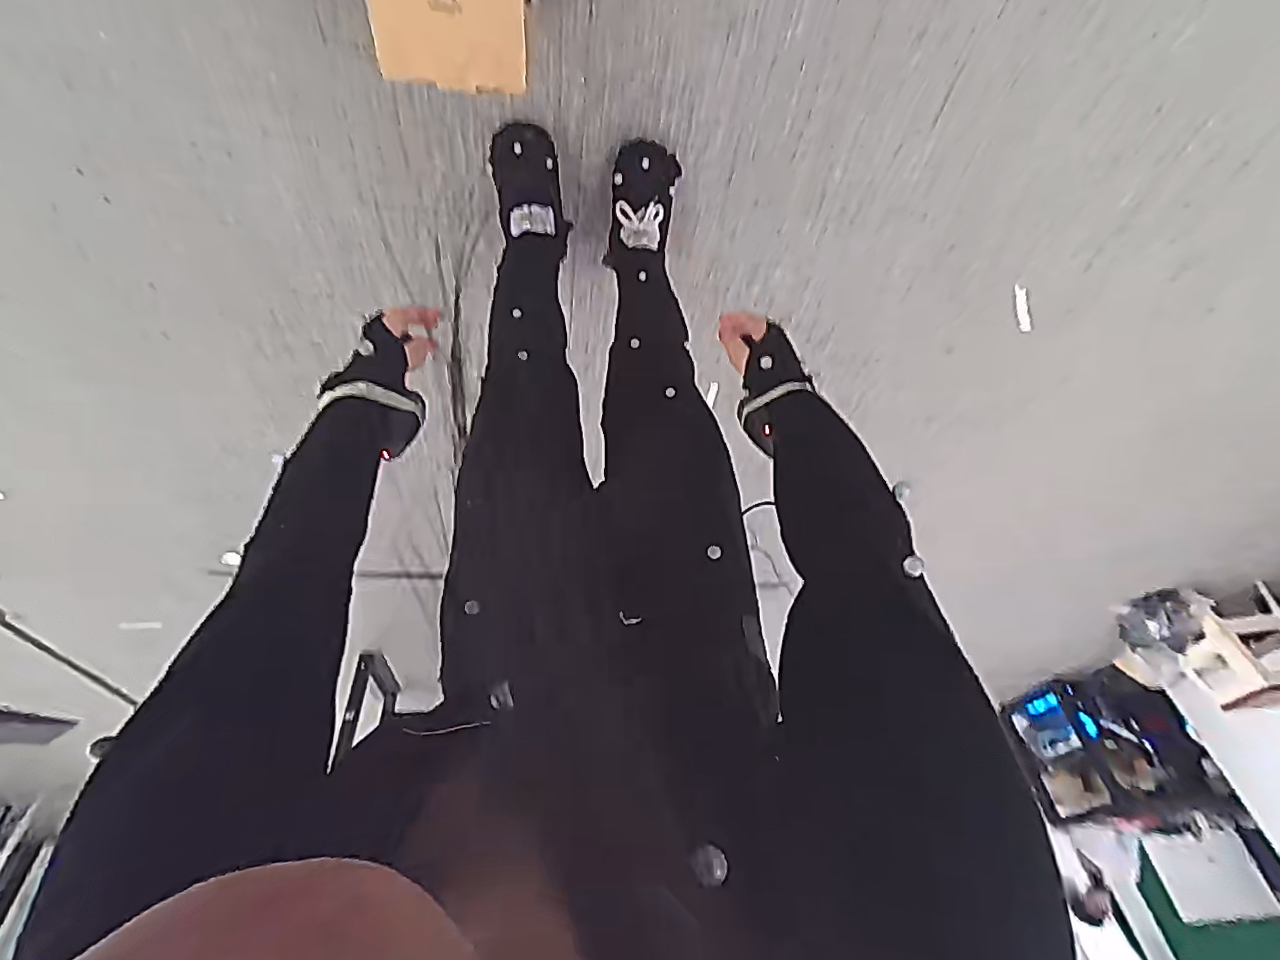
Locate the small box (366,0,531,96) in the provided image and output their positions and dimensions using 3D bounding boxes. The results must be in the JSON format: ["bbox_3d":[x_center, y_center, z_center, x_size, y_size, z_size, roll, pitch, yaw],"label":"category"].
[{"bbox_3d":[-0.215,-0.576,0.624,0.168,0.176,0.179,-1,138,-8],"label":"small box"}]
